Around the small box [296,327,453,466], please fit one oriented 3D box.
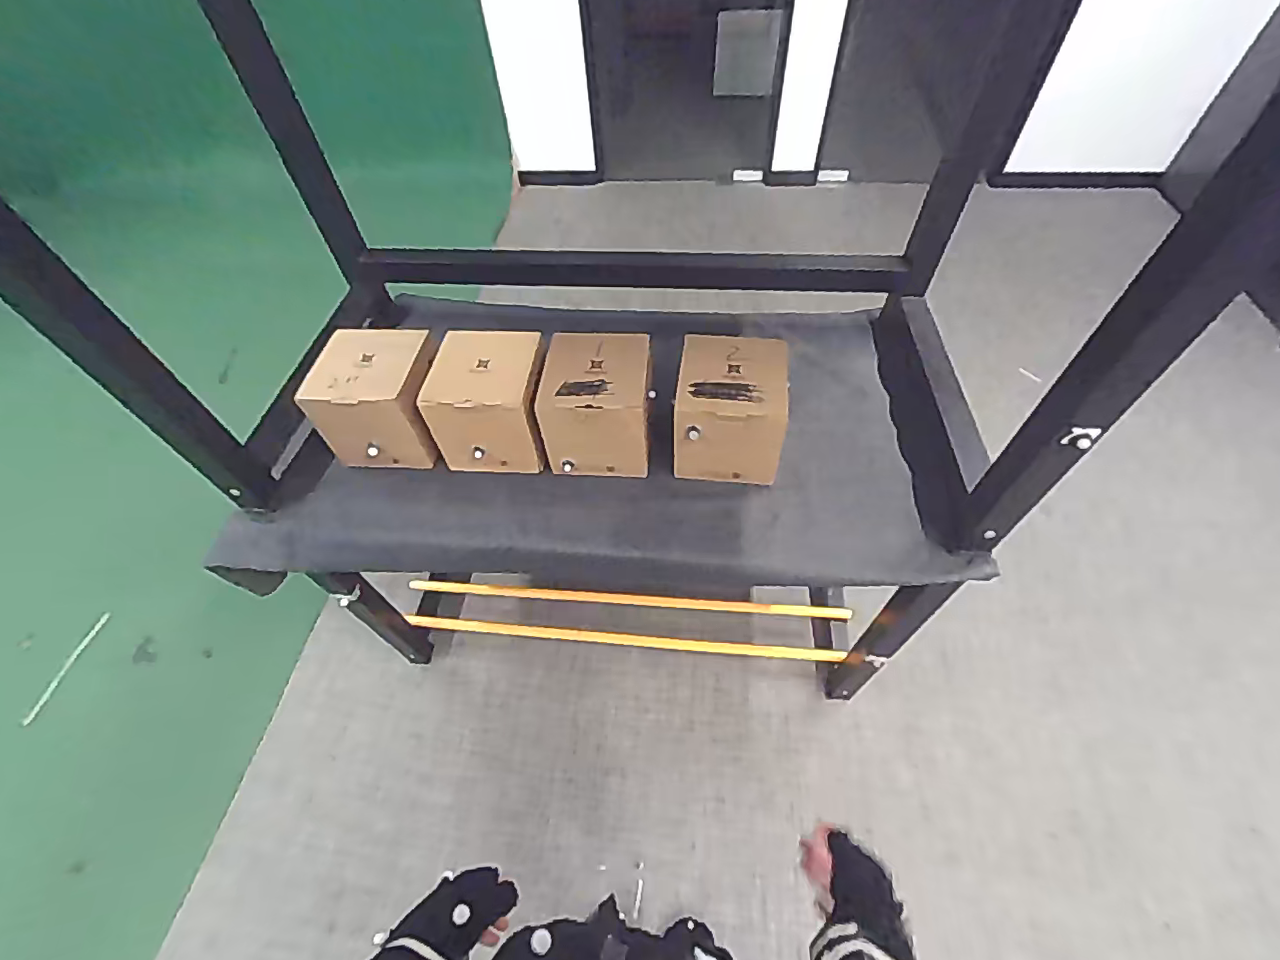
[{"bbox_3d":[-0.443,-0.145,0.941,0.168,0.176,0.179,1,53,4],"label":"small box"}]
